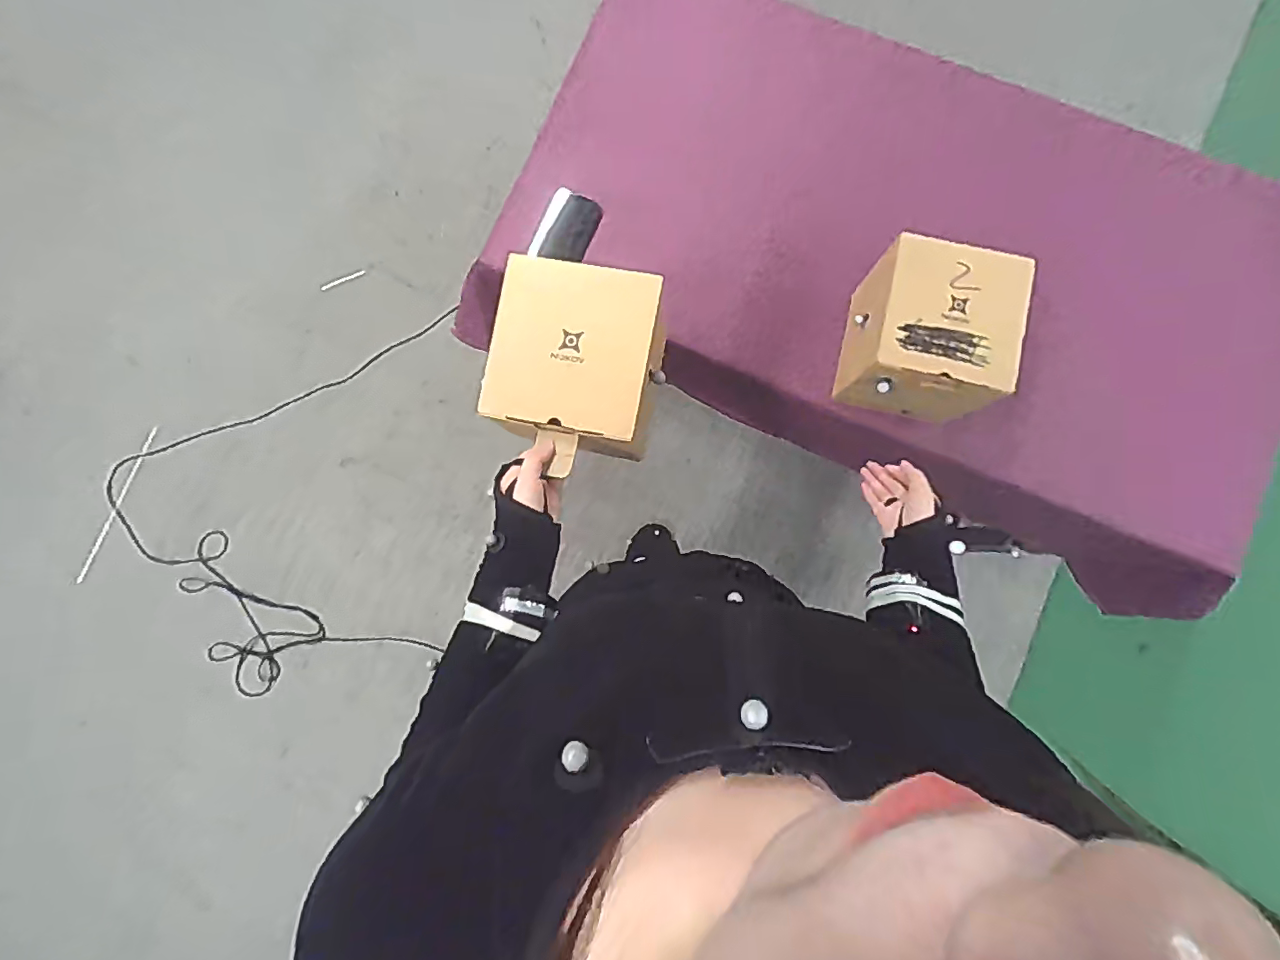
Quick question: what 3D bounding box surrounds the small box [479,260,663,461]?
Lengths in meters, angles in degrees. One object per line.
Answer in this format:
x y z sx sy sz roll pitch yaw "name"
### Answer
-0.068 -0.129 0.642 0.168 0.176 0.179 11 86 4 "small box"
